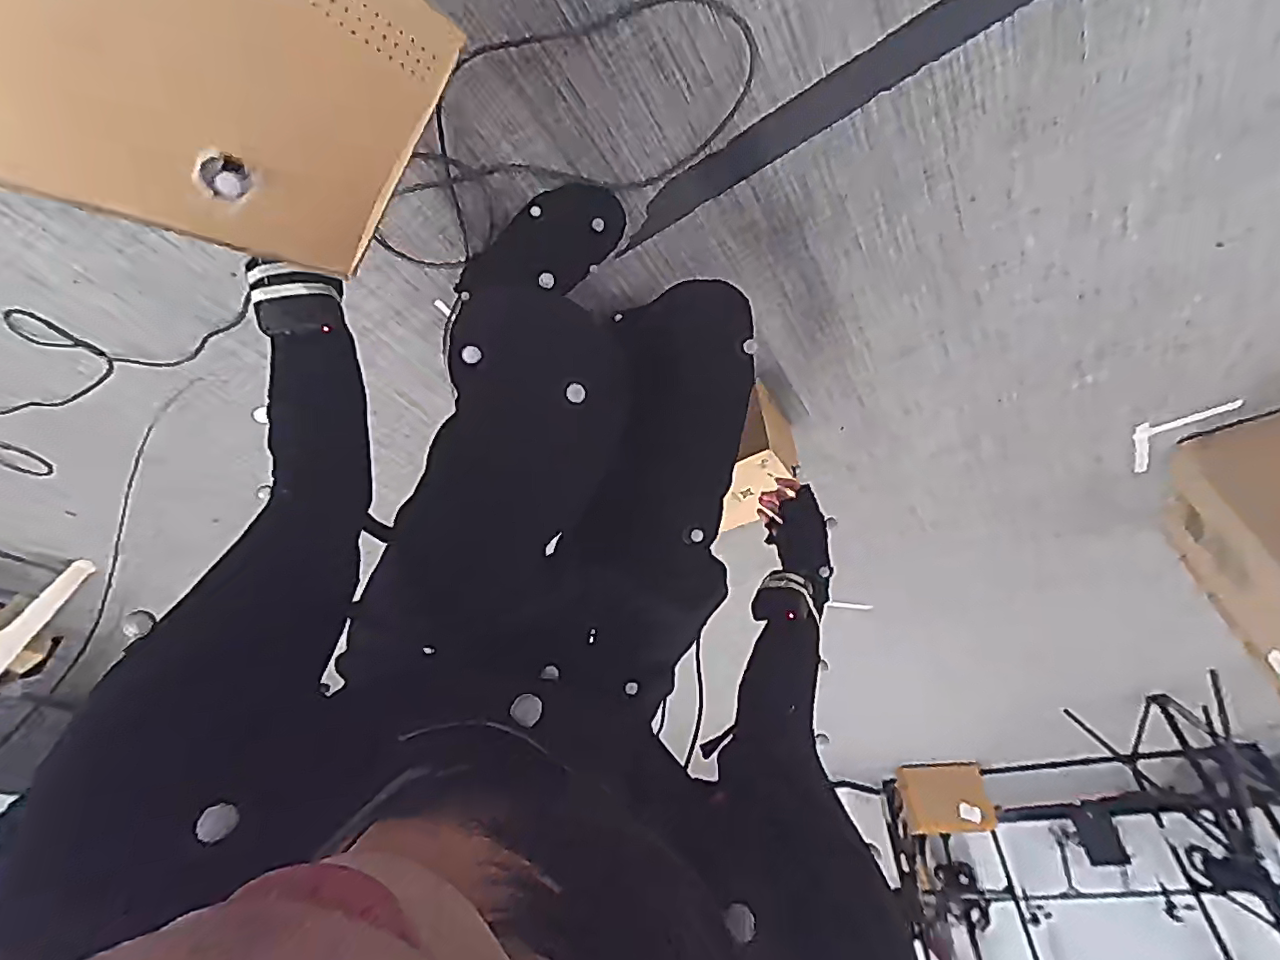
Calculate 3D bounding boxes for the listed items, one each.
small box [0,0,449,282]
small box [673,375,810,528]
[{"bbox_3d":[-0.231,-0.240,0.274,0.176,0.168,0.179,-46,156,25],"label":"small box"},{"bbox_3d":[0.171,-0.047,0.935,0.179,0.176,0.168,-22,137,27],"label":"small box"}]
